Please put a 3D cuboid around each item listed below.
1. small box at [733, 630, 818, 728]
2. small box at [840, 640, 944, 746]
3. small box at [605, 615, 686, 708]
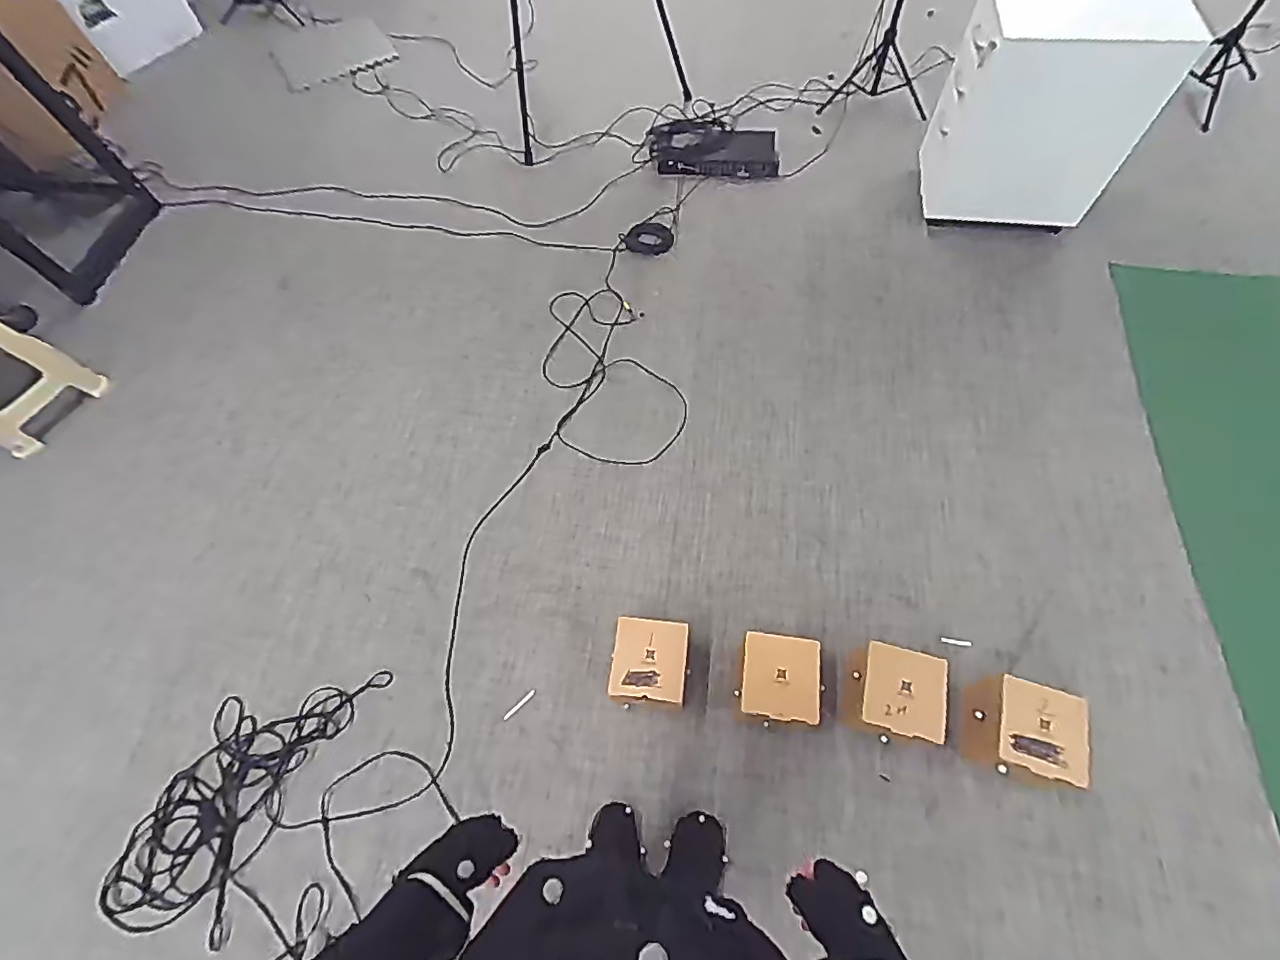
[{"bbox_3d":[0.308,0.463,1.250,0.168,0.176,0.179,6,64,8],"label":"small box"},{"bbox_3d":[0.563,0.483,1.220,0.168,0.176,0.179,13,65,11],"label":"small box"},{"bbox_3d":[0.021,0.435,1.284,0.168,0.176,0.179,5,62,7],"label":"small box"}]
